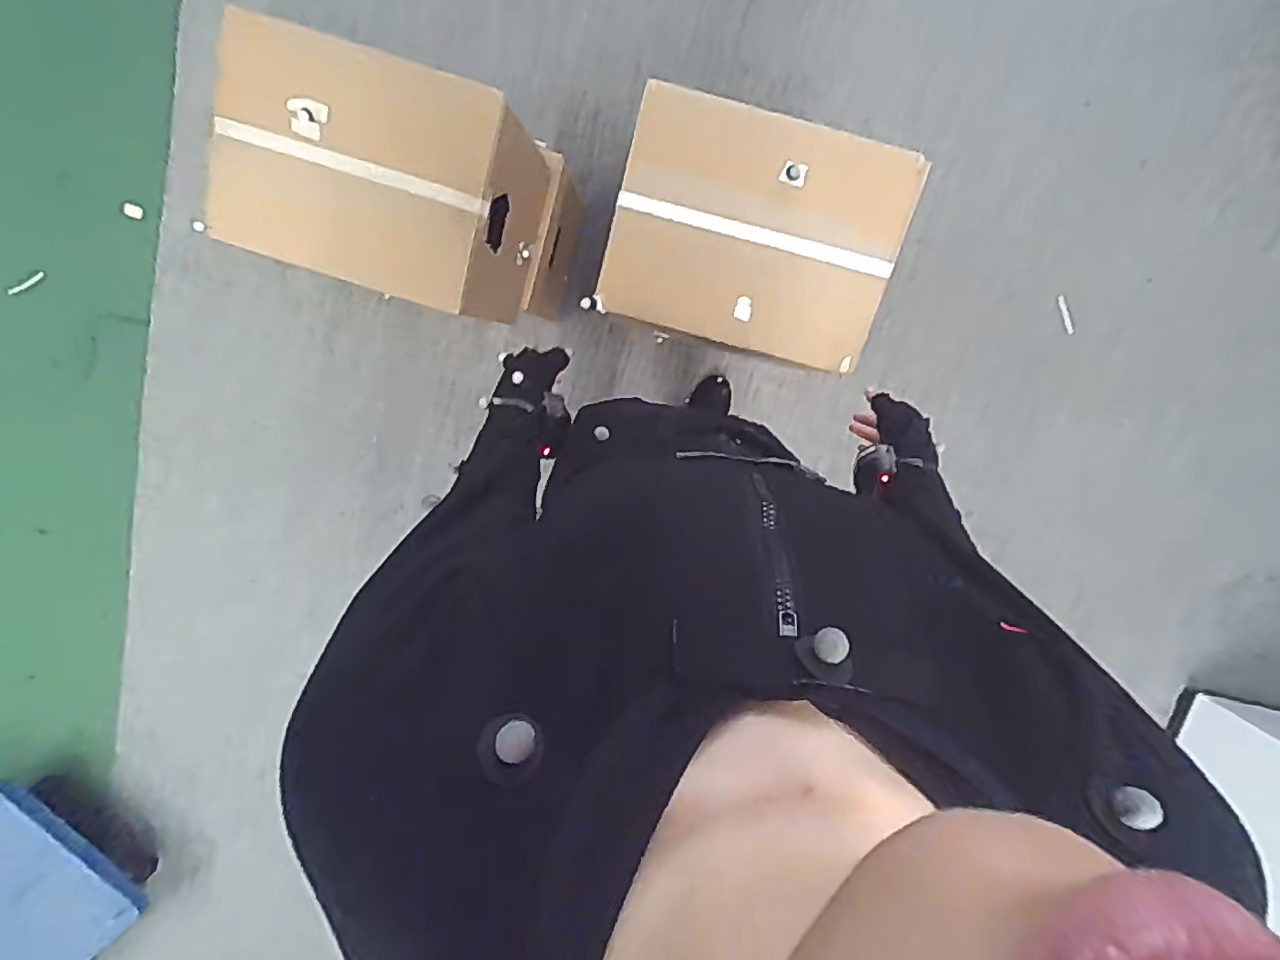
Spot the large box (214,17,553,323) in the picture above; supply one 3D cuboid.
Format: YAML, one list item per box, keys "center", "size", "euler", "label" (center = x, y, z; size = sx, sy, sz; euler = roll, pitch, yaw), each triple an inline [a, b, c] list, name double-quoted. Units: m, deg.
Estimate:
- center: [-0.404, -0.480, 0.926]
  size: [0.408, 0.320, 0.320]
  euler: [18, 103, 1]
  label: "large box"
